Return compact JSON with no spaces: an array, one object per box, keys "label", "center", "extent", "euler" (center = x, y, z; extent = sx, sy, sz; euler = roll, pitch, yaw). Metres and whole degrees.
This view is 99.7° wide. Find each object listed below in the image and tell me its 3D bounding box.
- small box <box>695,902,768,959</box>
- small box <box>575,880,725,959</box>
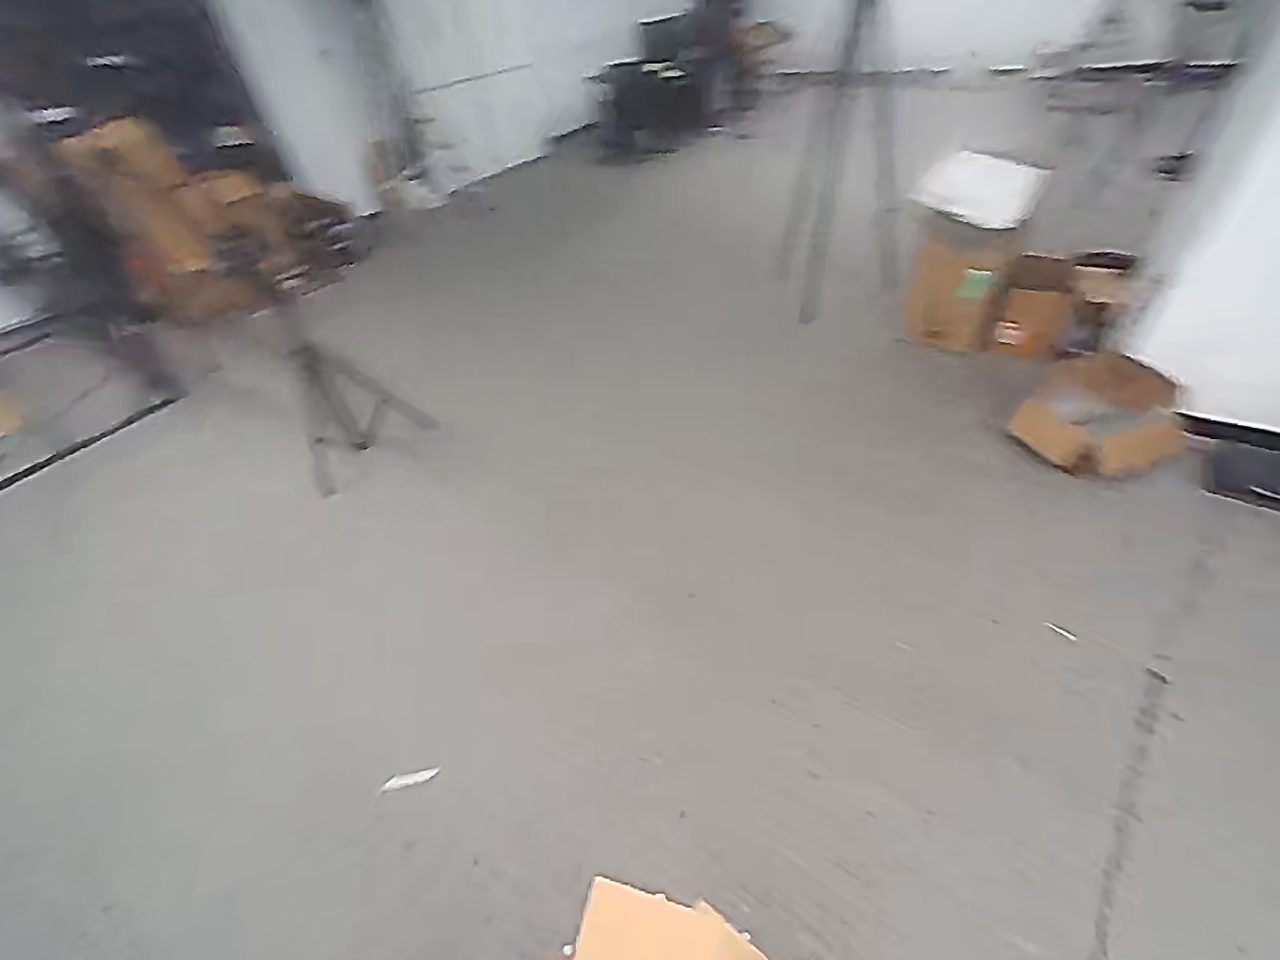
[{"label":"small box","center":[0.150,0.945,1.010],"extent":[0.179,0.176,0.168],"euler":[25,52,32]},{"label":"small box","center":[-0.004,0.629,0.657],"extent":[0.168,0.176,0.179],"euler":[13,48,10]}]
